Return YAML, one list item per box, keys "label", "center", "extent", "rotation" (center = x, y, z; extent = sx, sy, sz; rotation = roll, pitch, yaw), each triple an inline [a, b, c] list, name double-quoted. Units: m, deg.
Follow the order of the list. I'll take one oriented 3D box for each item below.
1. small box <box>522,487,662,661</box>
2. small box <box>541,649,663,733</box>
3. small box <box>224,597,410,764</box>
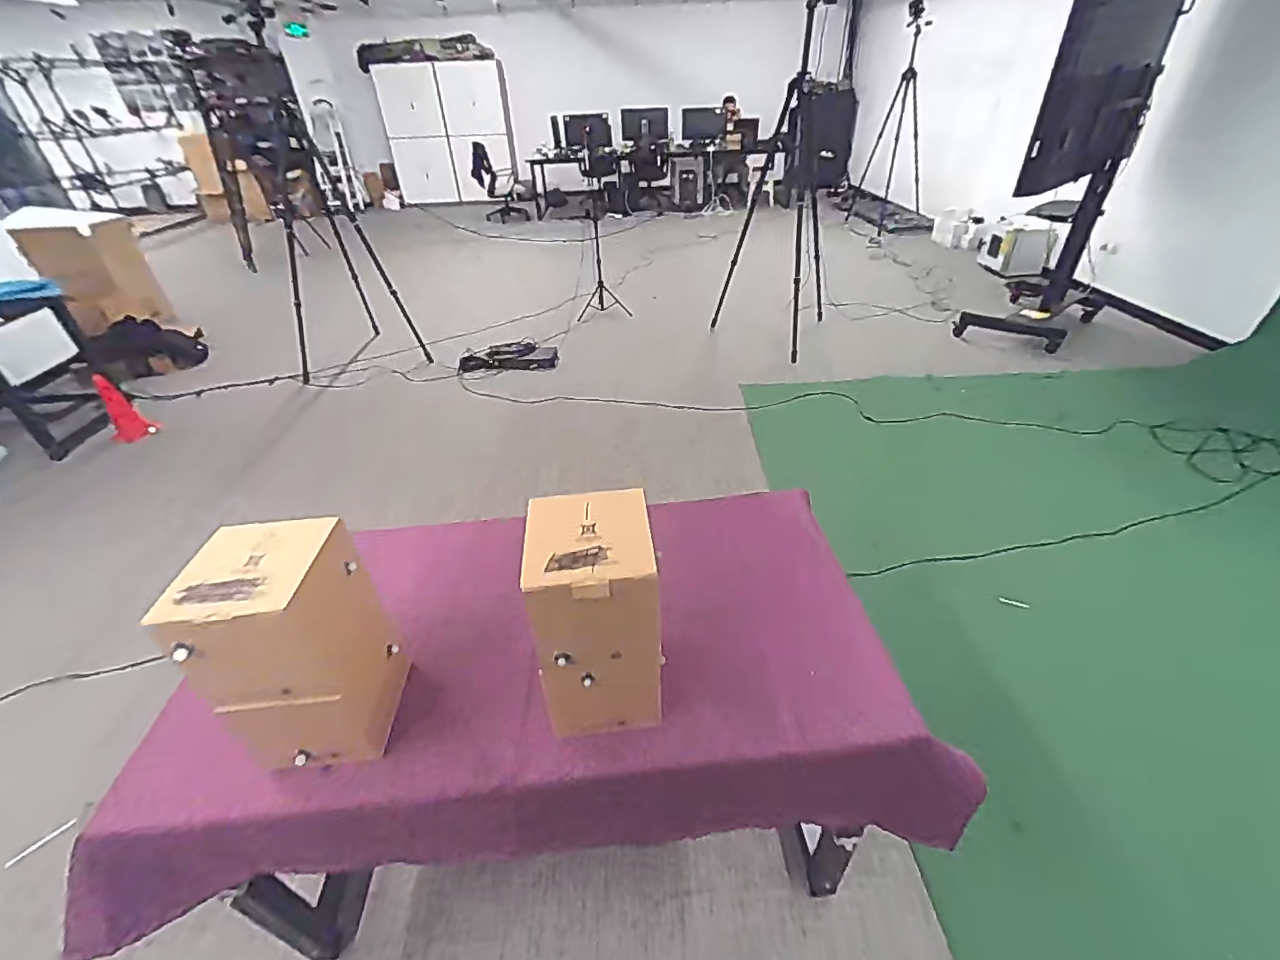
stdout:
- label: "small box"
  center: [-0.061, 0.134, 0.755]
  extent: [0.168, 0.176, 0.179]
  rotation: [-5, 36, -3]
- label: "small box"
  center: [-0.056, 0.267, 0.852]
  extent: [0.168, 0.176, 0.179]
  rotation: [-6, 36, -2]
- label: "small box"
  center: [-0.474, 0.306, 0.832]
  extent: [0.168, 0.176, 0.179]
  rotation: [-5, 38, -1]
